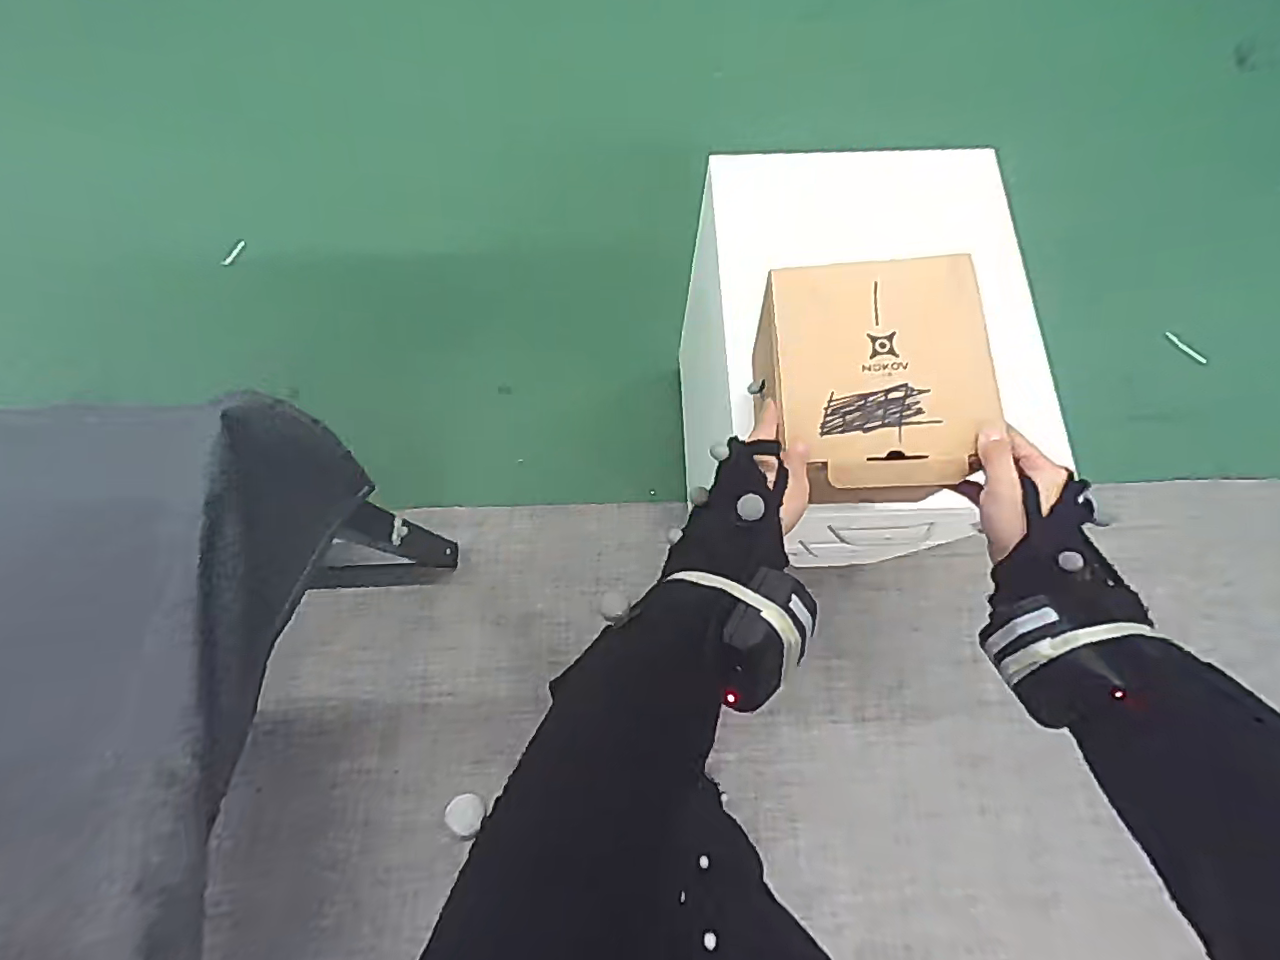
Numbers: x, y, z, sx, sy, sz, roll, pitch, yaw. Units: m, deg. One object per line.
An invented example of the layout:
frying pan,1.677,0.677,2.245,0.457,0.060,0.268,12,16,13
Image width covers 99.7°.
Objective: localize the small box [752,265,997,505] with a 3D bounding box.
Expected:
small box,0.198,-0.073,0.511,0.168,0.176,0.179,-1,75,6
